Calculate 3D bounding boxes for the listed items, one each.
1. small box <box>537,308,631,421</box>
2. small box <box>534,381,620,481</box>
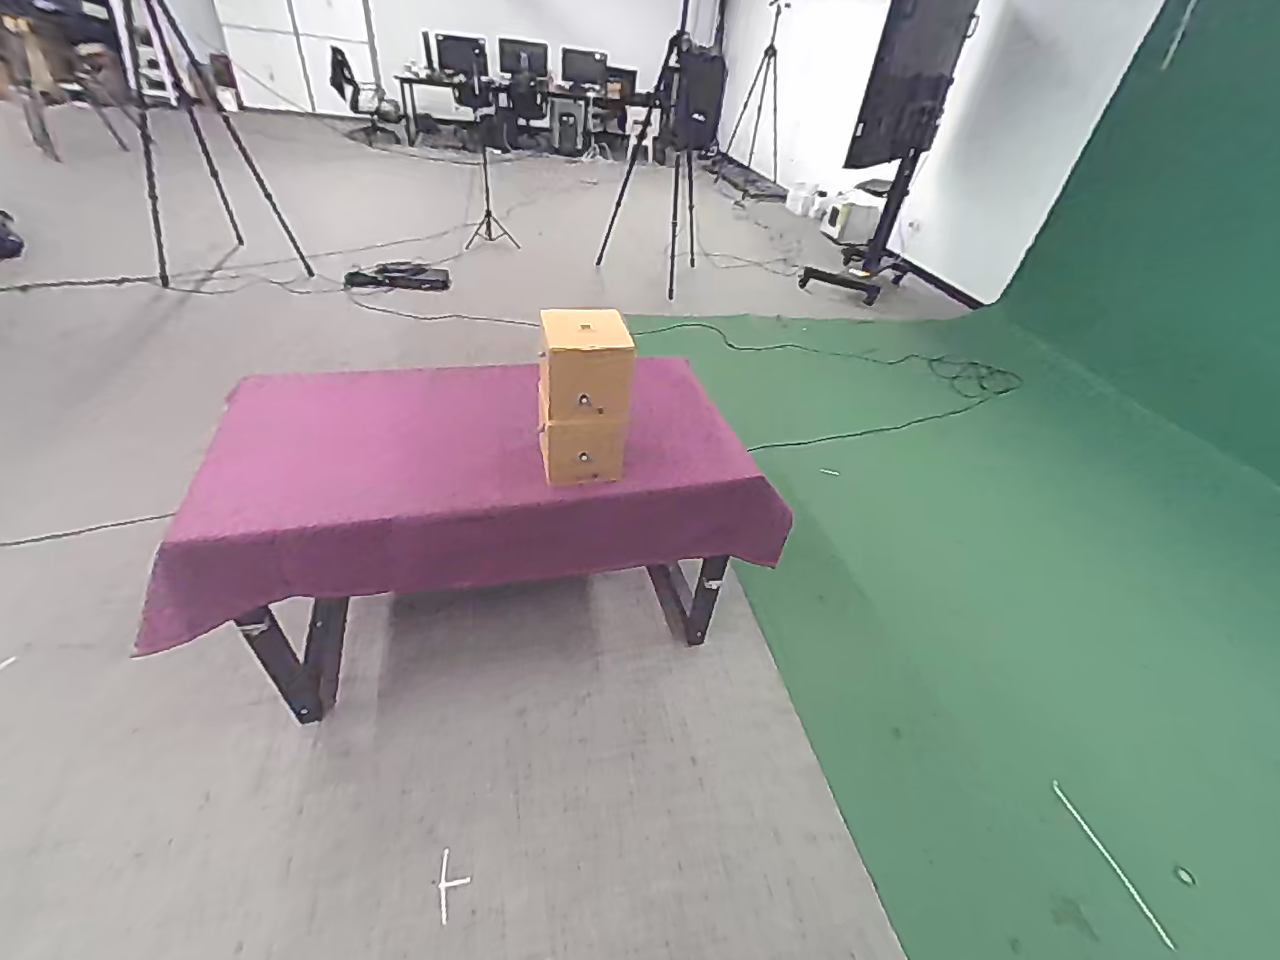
[{"bbox_3d":[-0.124,-0.240,1.121,0.168,0.176,0.179,-5,43,-15],"label":"small box"},{"bbox_3d":[-0.145,-0.110,1.218,0.168,0.176,0.179,-5,41,-15],"label":"small box"}]
